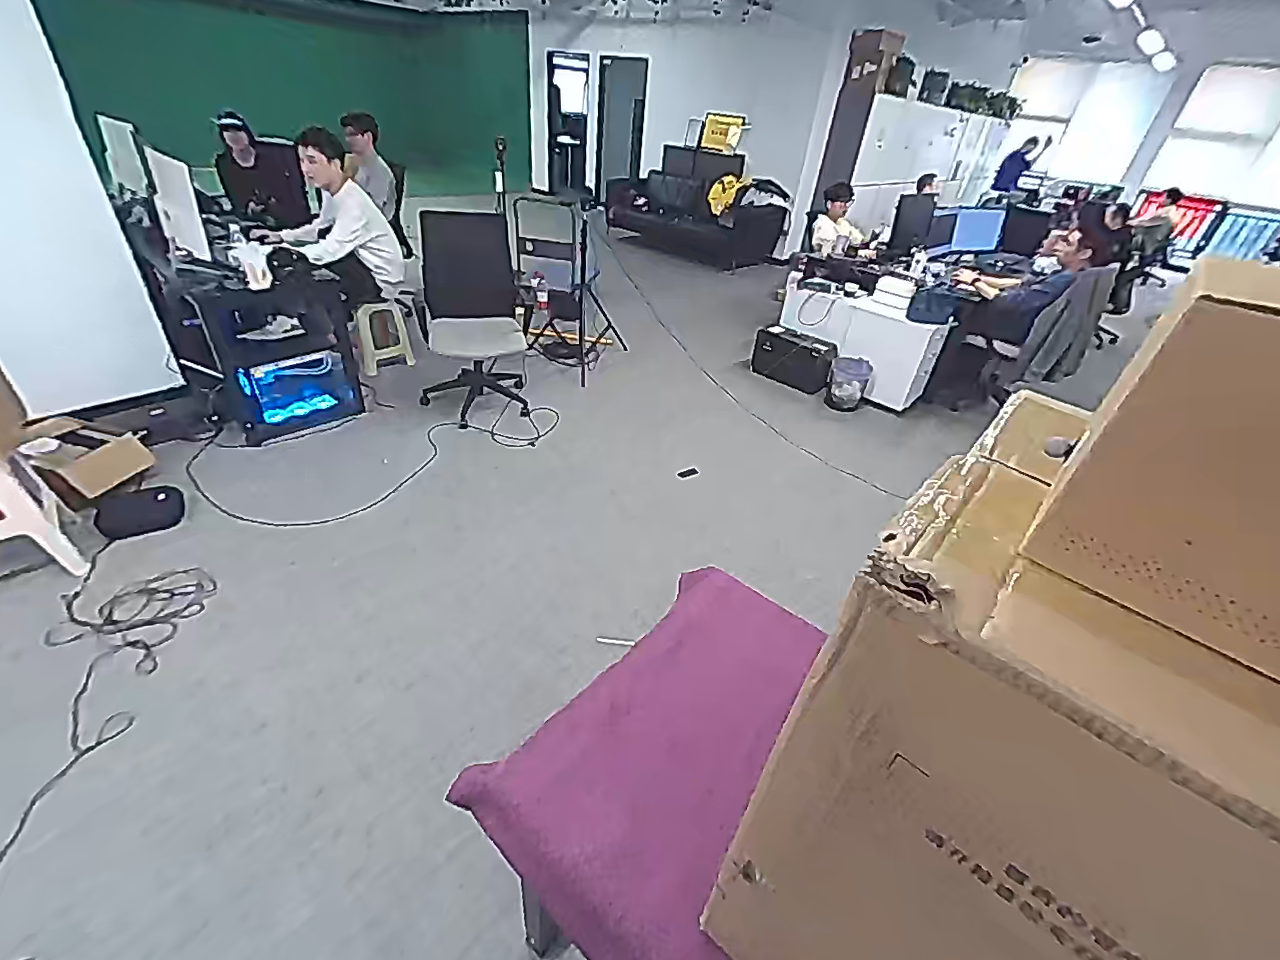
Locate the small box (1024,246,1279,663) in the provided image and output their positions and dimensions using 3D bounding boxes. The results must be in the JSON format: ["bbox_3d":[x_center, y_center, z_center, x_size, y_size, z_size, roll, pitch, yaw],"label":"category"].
[{"bbox_3d":[0.364,-0.015,0.301,0.179,0.176,0.168,31,41,31],"label":"small box"}]
